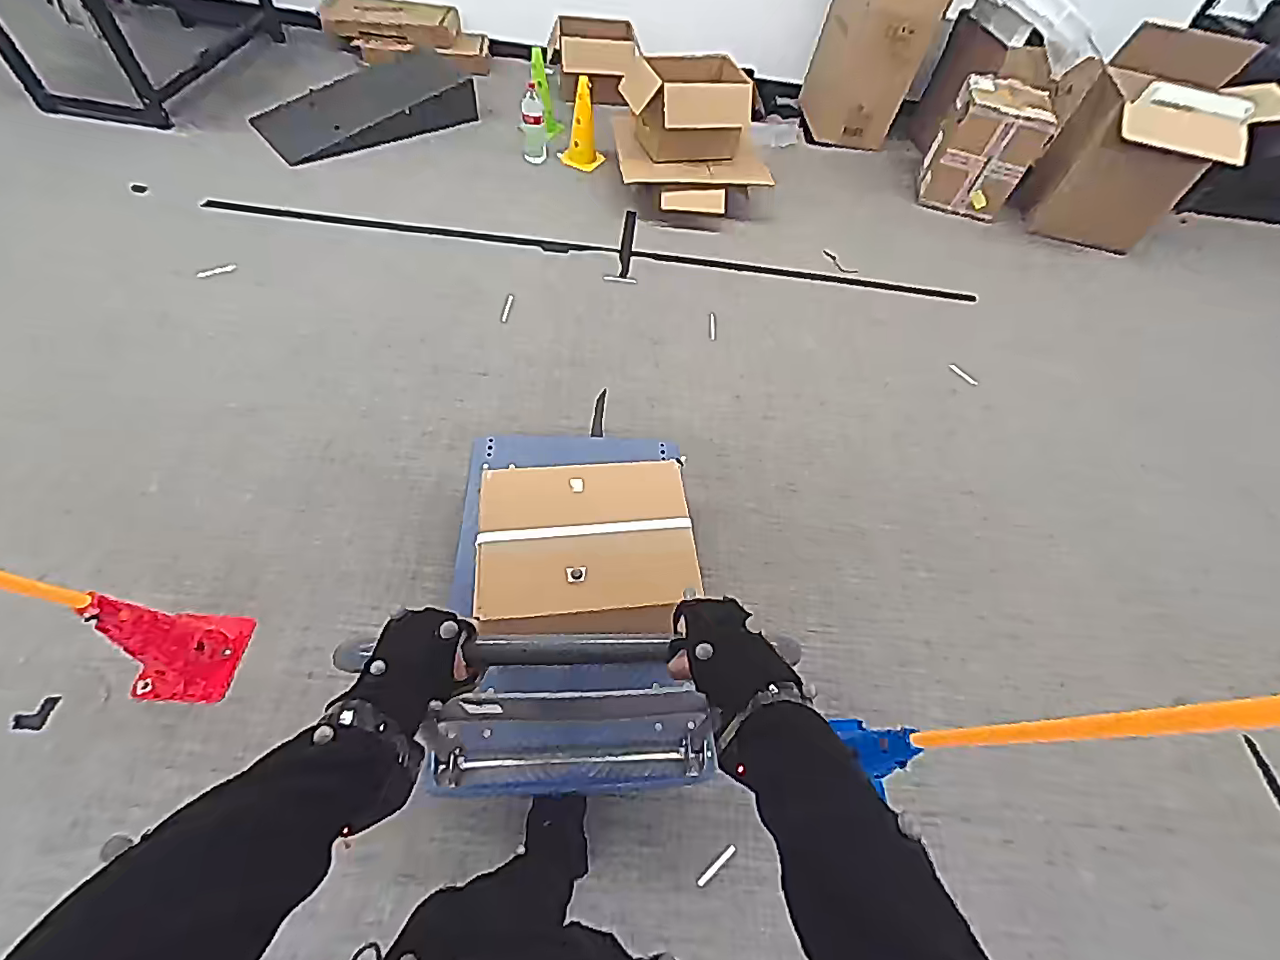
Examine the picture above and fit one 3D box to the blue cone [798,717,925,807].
[{"bbox_3d":[0.501,0.579,1.160,0.193,0.380,0.192,3,55,-6],"label":"blue cone"}]
